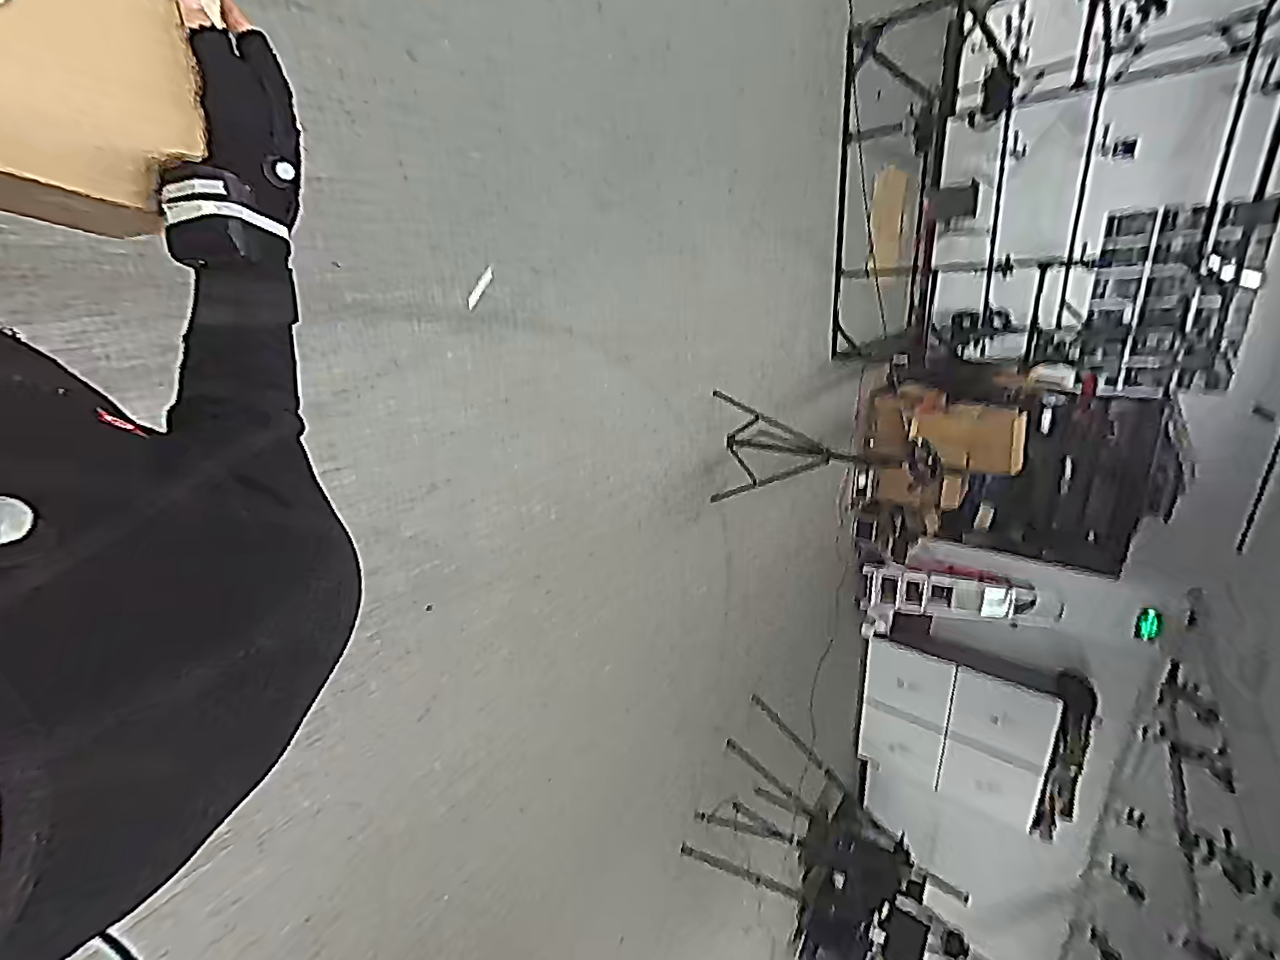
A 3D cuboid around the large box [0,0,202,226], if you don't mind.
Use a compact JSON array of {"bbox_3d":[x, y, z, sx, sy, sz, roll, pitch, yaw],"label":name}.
[{"bbox_3d":[-0.568,-0.384,0.333,0.408,0.320,0.320,-4,107,-54],"label":"large box"}]
